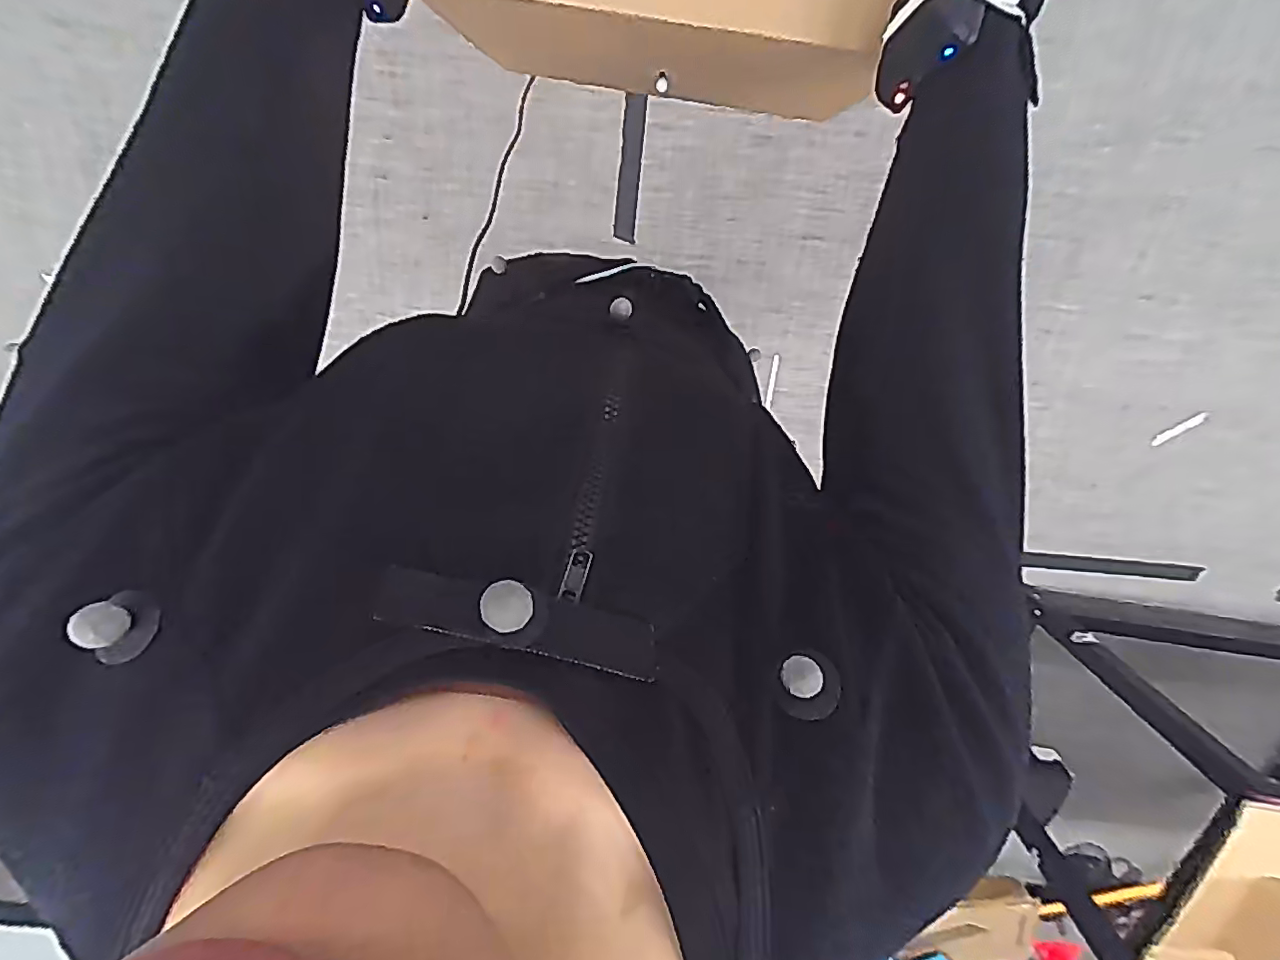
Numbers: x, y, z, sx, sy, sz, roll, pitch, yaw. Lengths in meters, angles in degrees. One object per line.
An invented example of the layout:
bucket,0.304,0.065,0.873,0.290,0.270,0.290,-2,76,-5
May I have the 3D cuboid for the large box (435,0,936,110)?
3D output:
large box,0.047,-0.549,0.470,0.408,0.320,0.320,9,116,0
